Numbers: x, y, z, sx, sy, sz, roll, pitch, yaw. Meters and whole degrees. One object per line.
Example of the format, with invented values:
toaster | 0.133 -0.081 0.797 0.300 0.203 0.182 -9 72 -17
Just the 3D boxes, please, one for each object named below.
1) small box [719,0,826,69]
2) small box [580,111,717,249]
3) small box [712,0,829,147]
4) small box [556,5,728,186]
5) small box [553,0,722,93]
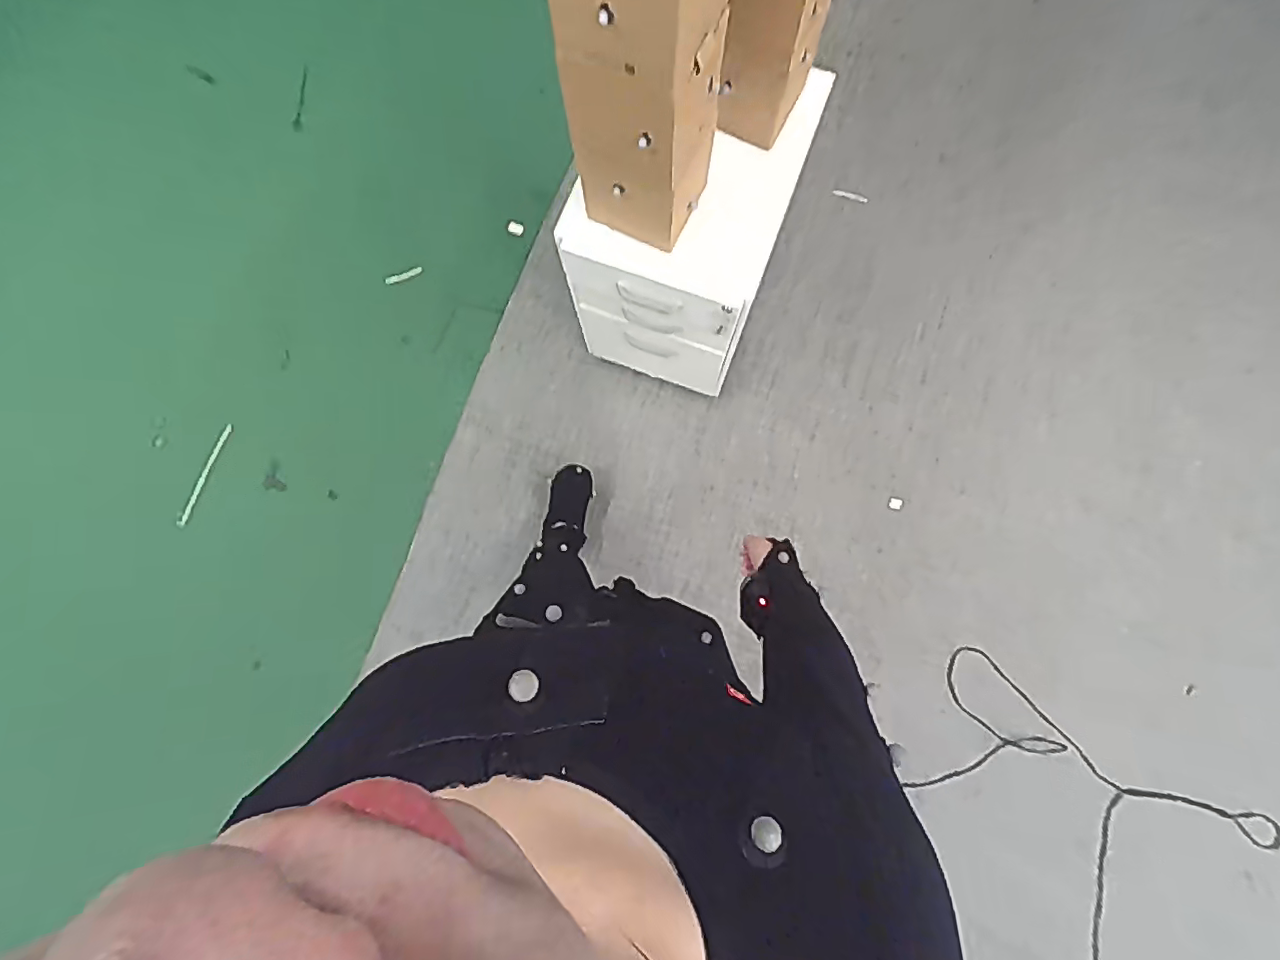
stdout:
small box | 0.192 -0.772 0.809 0.179 0.176 0.168 27 82 5
small box | 0.011 -0.538 0.938 0.179 0.176 0.168 26 81 4
small box | 0.202 -0.746 0.969 0.179 0.176 0.168 27 82 6
small box | 0.005 -0.564 0.778 0.179 0.176 0.168 25 80 6
small box | 0.003 -0.597 0.616 0.168 0.176 0.179 25 80 4
